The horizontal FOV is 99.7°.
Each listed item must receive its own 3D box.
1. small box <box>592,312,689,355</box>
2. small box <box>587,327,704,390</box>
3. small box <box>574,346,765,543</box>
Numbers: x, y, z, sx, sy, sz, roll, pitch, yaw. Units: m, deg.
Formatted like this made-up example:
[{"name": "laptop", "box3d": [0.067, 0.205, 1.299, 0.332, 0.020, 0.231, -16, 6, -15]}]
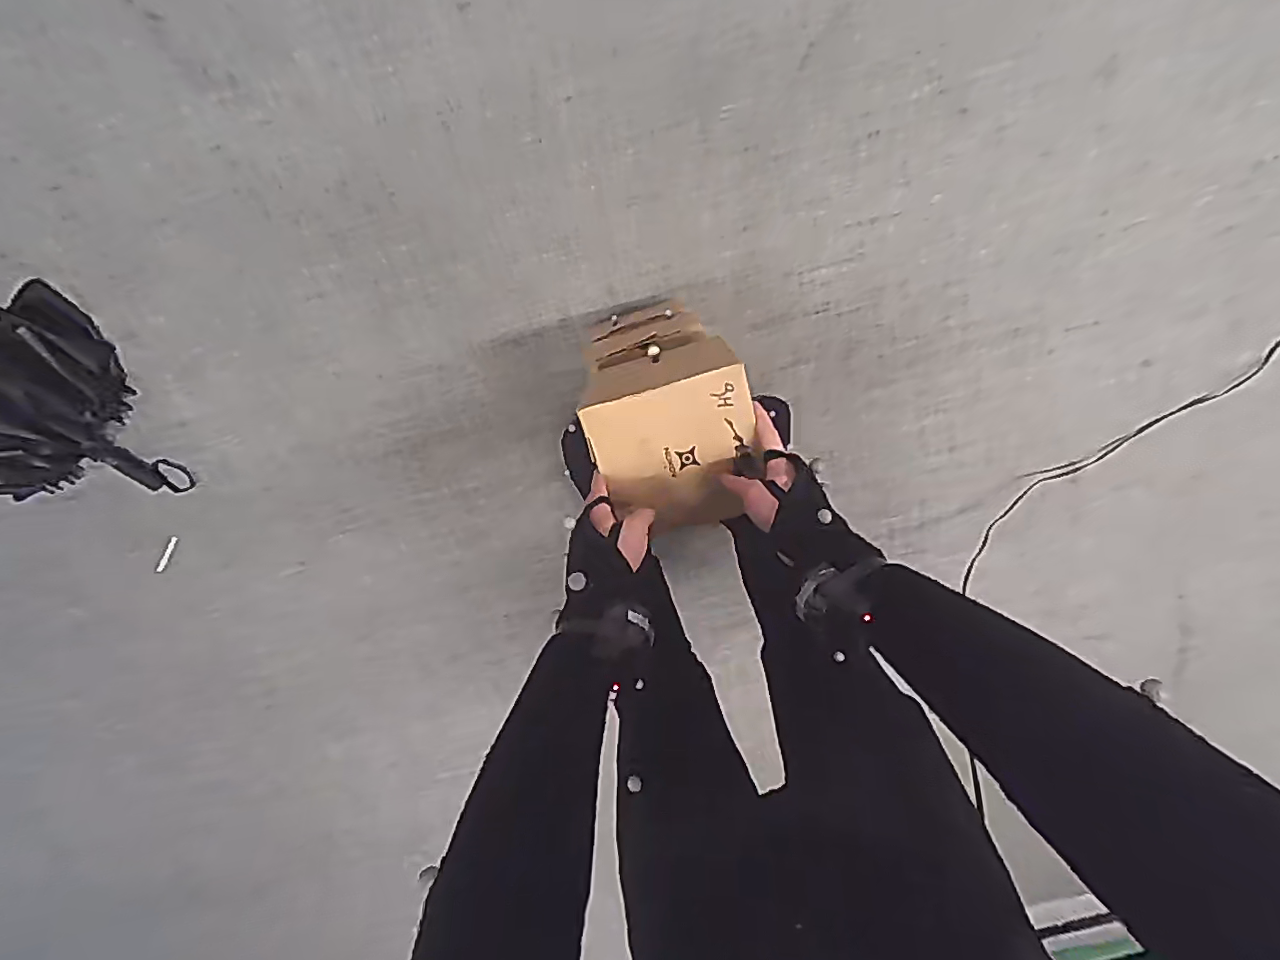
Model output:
[{"name": "small box", "box3d": [0.017, -0.195, 0.979, 0.168, 0.176, 0.179, -17, 113, 5]}, {"name": "small box", "box3d": [0.024, -0.126, 0.829, 0.168, 0.176, 0.179, -18, 112, 5]}, {"name": "small box", "box3d": [0.038, -0.050, 0.653, 0.179, 0.176, 0.168, -15, 112, 8]}]
